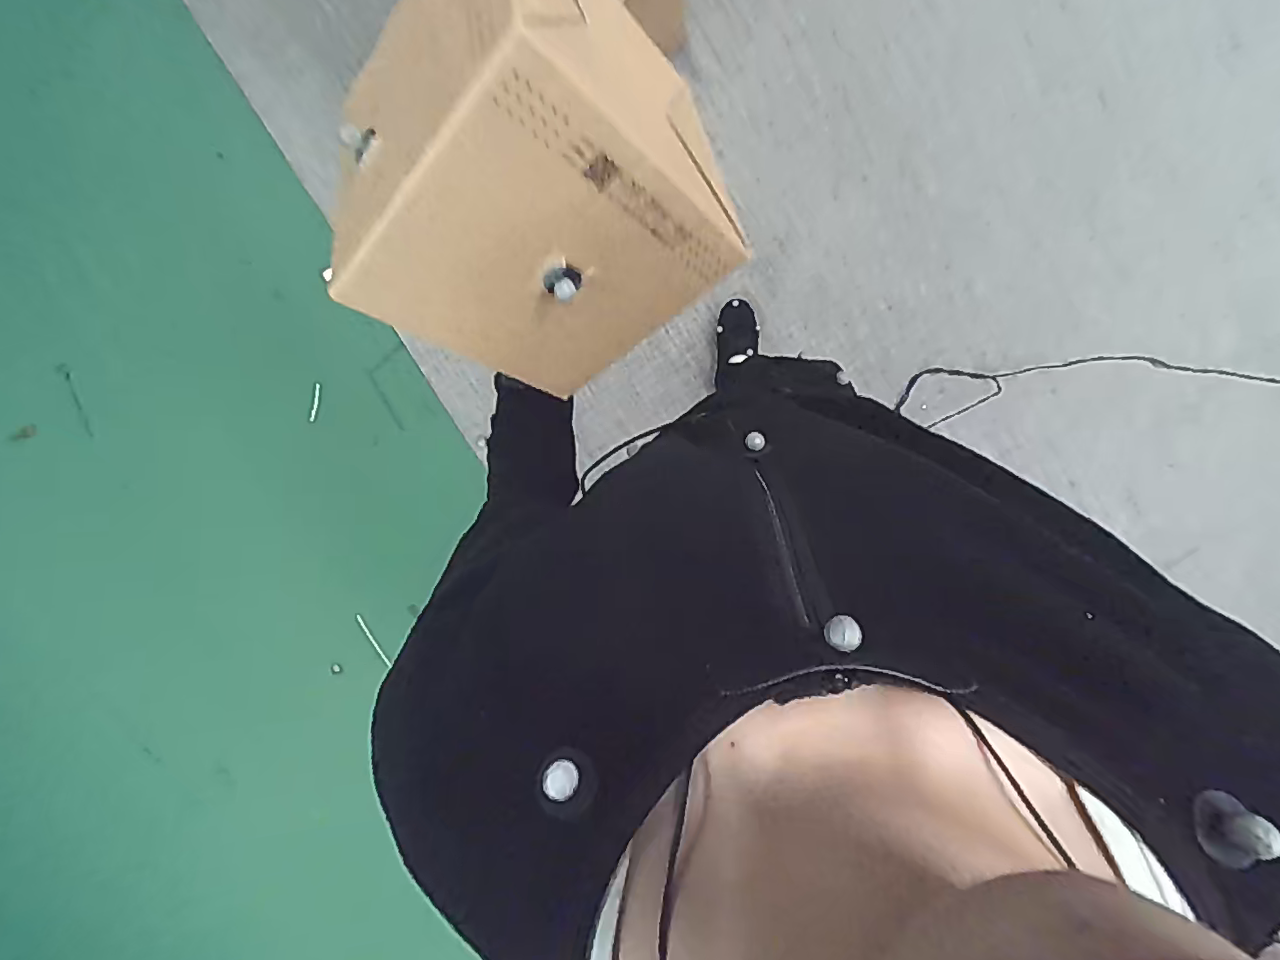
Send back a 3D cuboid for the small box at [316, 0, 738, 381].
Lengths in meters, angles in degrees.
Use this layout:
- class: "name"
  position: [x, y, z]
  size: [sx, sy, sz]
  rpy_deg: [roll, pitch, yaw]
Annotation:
- class: "small box"
  position: [-0.065, -0.194, 0.316]
  size: [0.176, 0.168, 0.179]
  rpy_deg: [-30, 60, 33]
